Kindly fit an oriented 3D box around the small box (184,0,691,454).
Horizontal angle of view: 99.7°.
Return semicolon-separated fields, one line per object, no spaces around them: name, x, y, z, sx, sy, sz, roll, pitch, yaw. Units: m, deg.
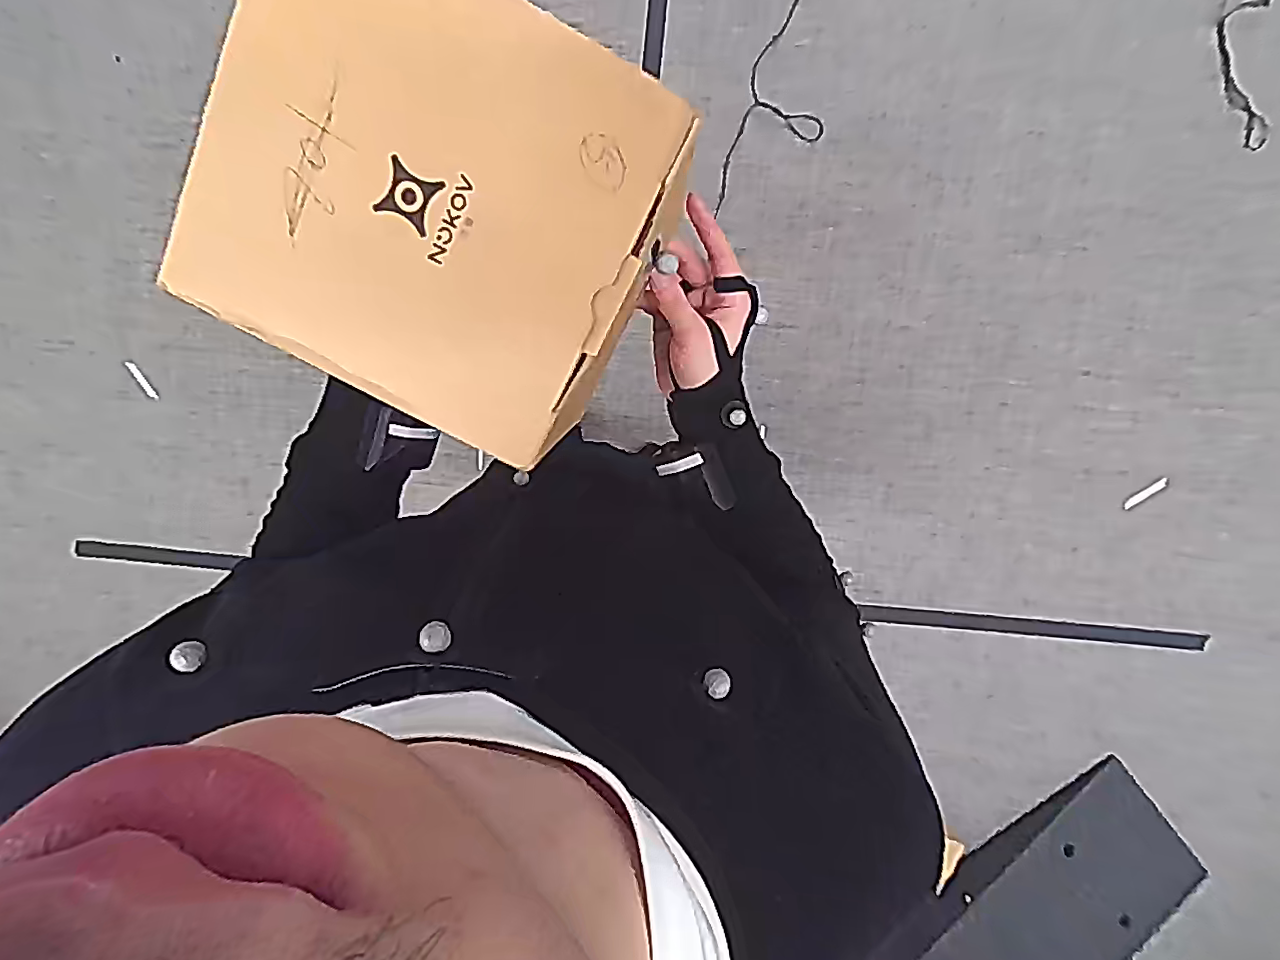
small box;-0.090;-0.138;0.309;0.179;0.176;0.168;27;102;-5
